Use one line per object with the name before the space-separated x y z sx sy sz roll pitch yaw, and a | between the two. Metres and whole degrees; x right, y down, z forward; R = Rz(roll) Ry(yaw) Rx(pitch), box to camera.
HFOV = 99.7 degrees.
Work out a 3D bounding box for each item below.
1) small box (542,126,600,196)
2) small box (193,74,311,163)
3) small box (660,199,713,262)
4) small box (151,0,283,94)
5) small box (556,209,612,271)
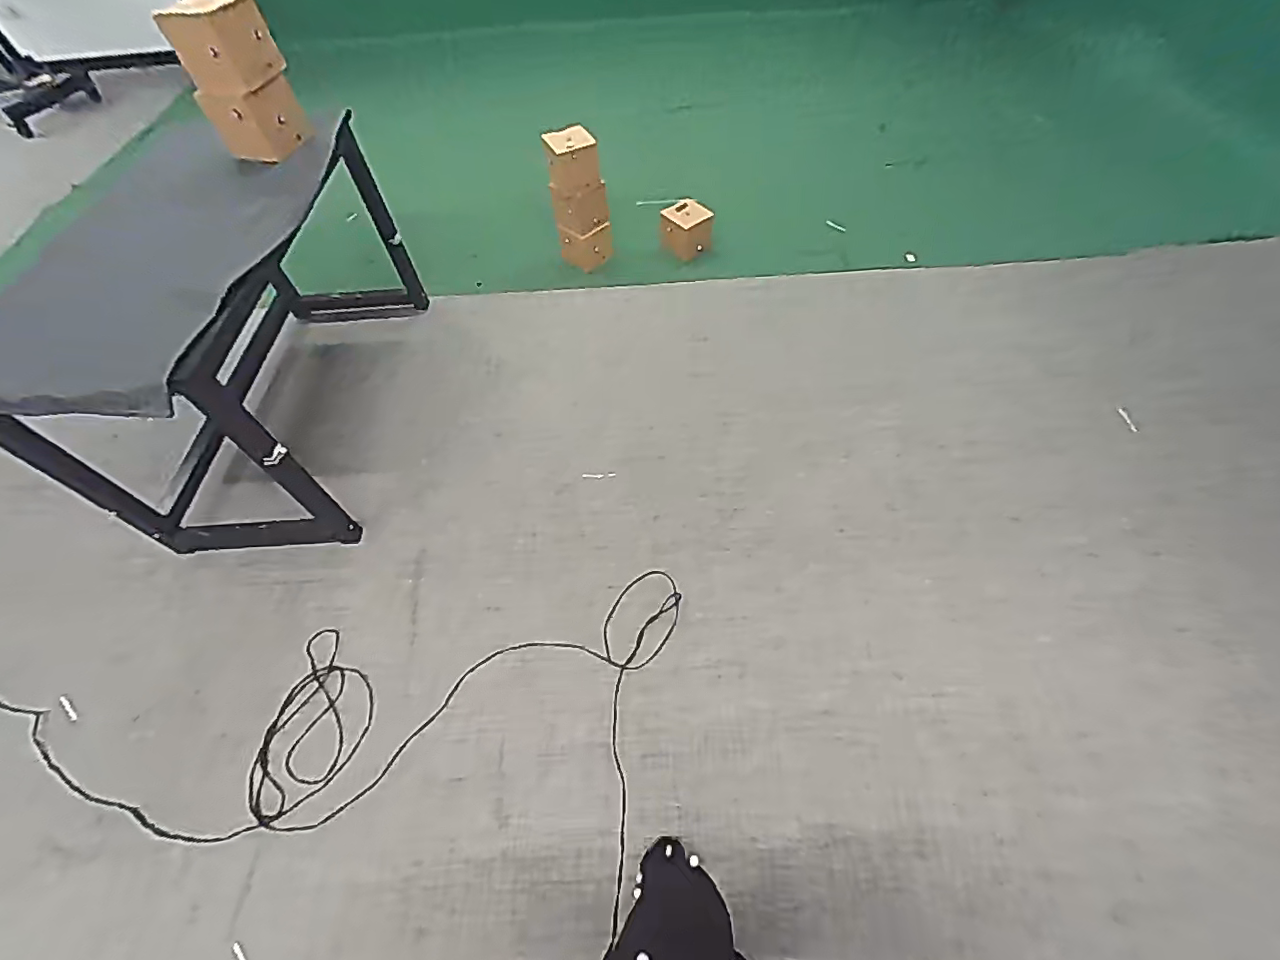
small box | -0.270 -1.255 2.130 0.168 0.176 0.179 -24 58 -12
small box | -1.093 -1.031 1.542 0.179 0.176 0.168 13 58 15
small box | 0.201 -1.100 2.388 0.168 0.176 0.179 -35 62 -19
small box | -1.095 -1.138 1.418 0.179 0.176 0.168 8 56 12
small box | -0.242 -1.056 2.391 0.179 0.176 0.168 38 66 26
